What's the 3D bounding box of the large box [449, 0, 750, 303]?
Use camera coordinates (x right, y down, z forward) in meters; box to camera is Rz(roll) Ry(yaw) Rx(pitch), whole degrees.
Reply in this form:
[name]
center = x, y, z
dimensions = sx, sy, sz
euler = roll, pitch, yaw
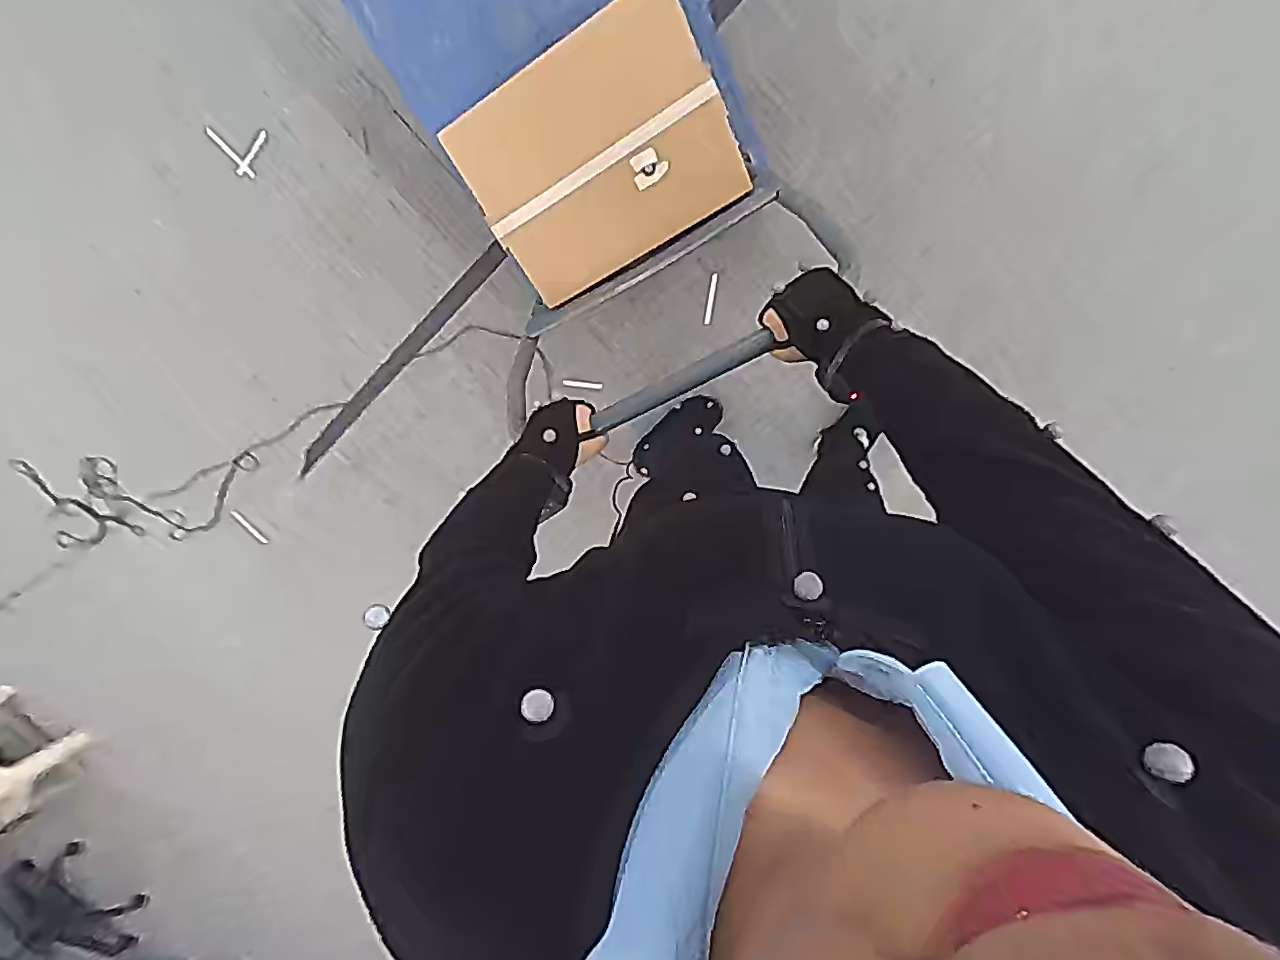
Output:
[large box]
center = -0.065, -0.597, 0.998
dimensions = 0.408, 0.320, 0.320
euler = -27, 120, 15
